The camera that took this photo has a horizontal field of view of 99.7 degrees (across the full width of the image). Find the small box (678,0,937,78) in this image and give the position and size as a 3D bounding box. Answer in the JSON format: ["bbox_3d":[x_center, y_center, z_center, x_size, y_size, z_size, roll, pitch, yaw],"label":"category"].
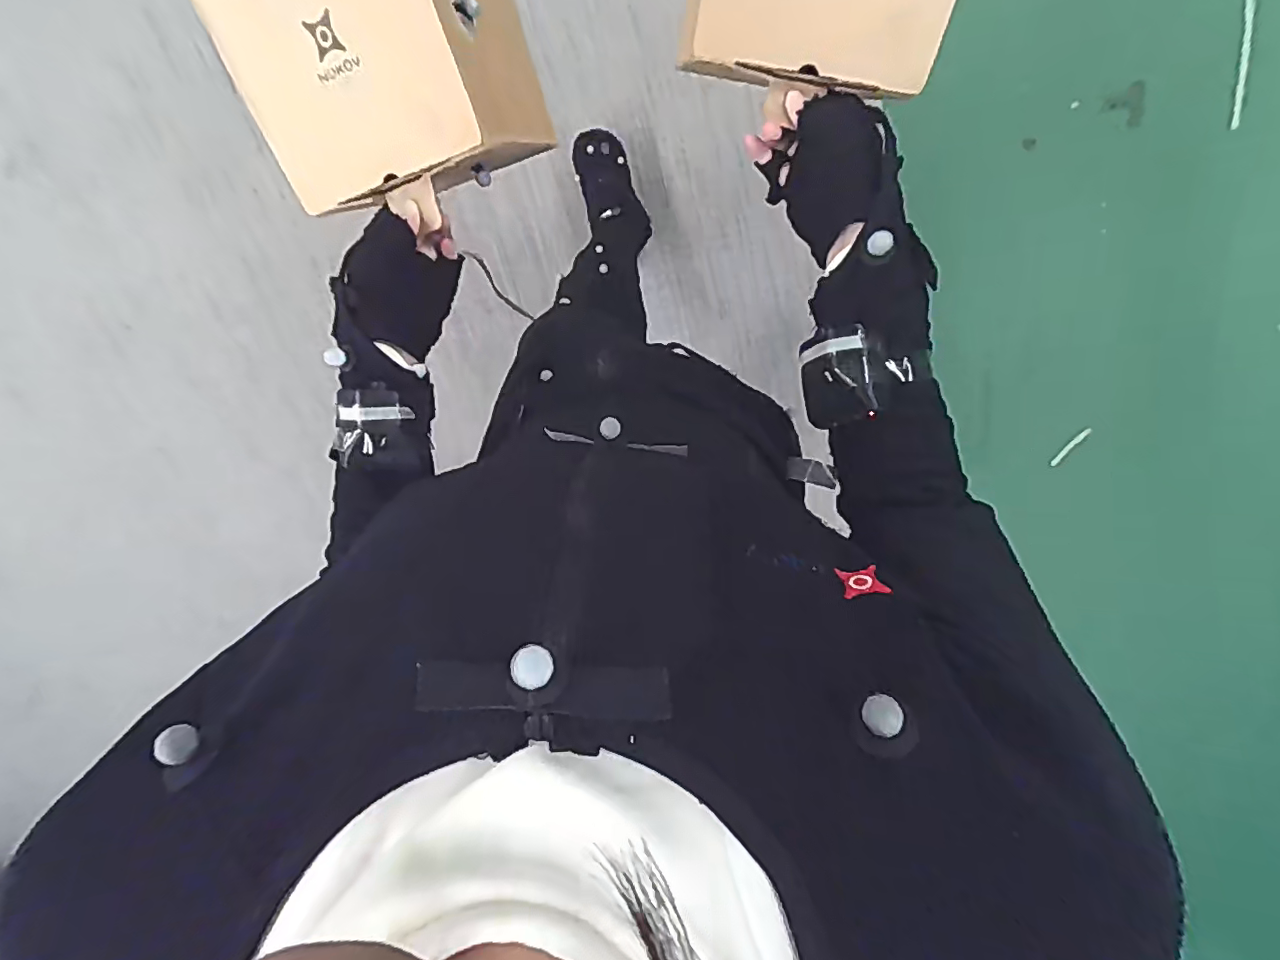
[{"bbox_3d":[0.123,-0.410,0.389,0.168,0.176,0.179,6,126,-5],"label":"small box"}]

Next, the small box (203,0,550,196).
[{"bbox_3d":[-0.192,-0.348,0.424,0.168,0.176,0.179,-11,118,17],"label":"small box"}]
